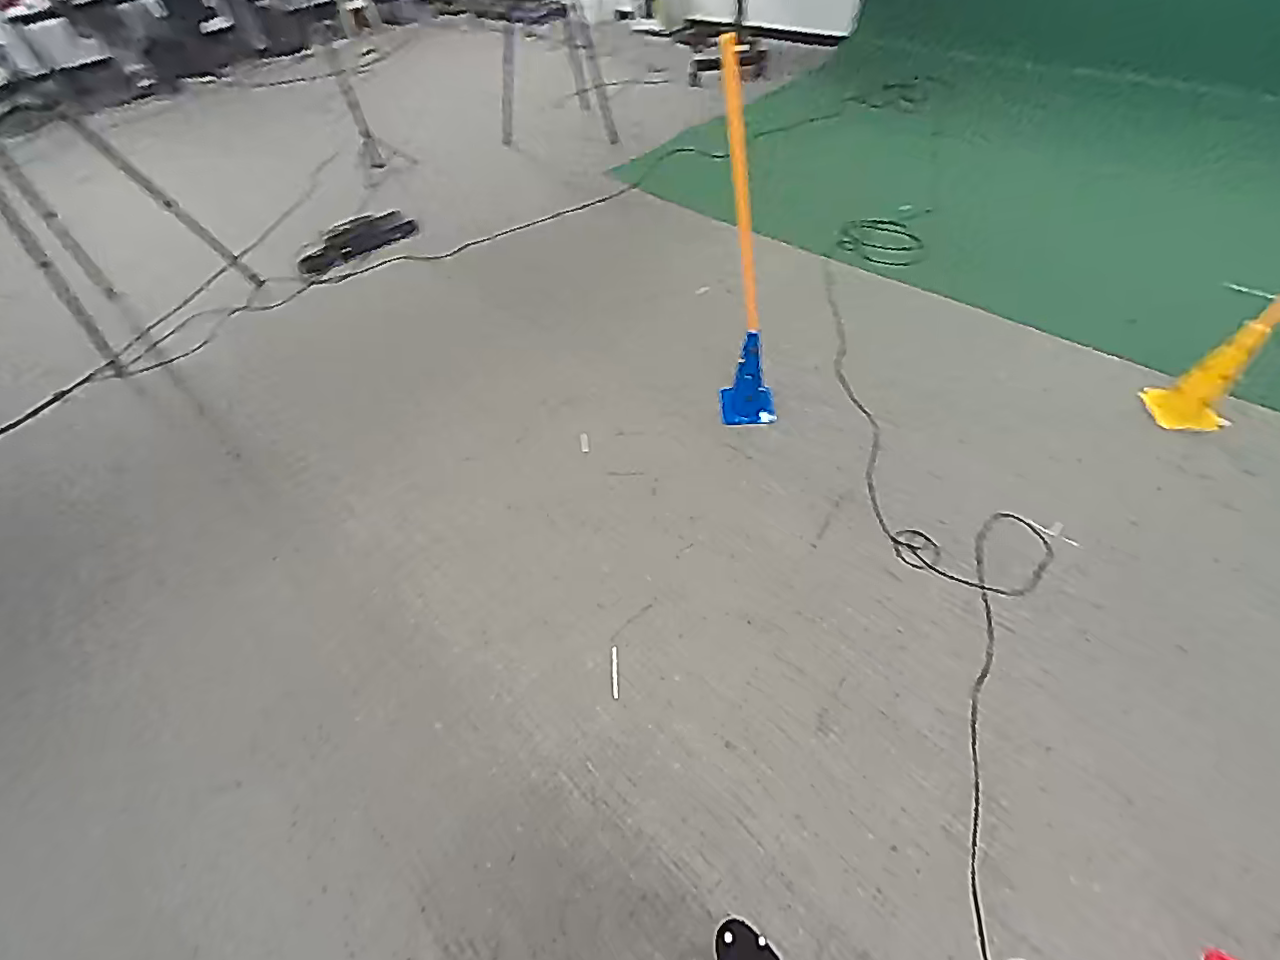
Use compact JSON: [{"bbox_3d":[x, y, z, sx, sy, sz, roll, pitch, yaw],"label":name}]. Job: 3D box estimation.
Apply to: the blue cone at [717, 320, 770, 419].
[{"bbox_3d":[0.380,-0.407,1.950,0.193,0.380,0.192,-5,52,4],"label":"blue cone"}]
